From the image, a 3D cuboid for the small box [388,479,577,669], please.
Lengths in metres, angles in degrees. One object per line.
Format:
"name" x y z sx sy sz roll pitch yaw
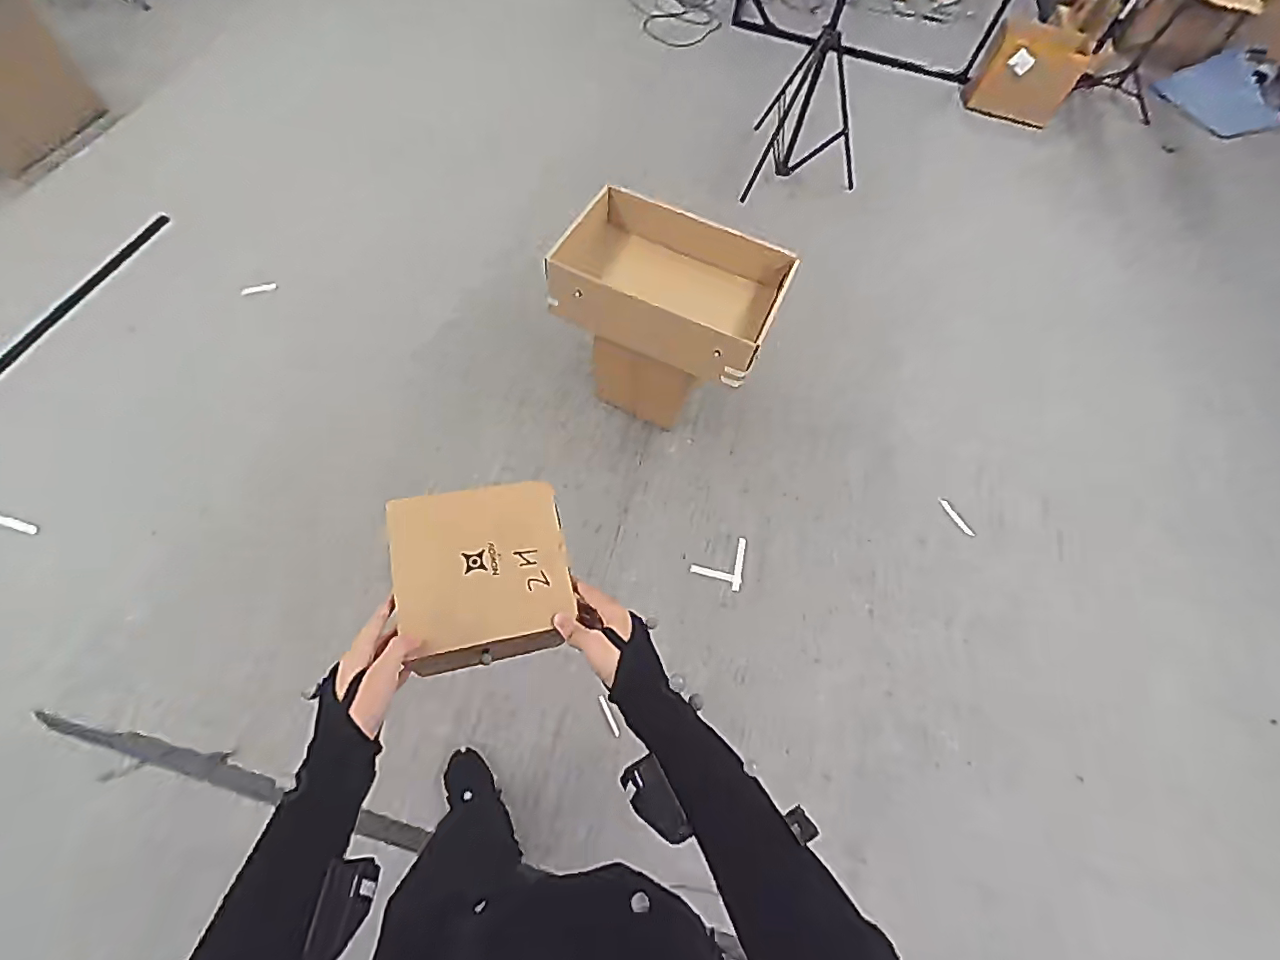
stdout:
"small box" -0.182 0.114 0.630 0.179 0.176 0.168 -7 69 -19
